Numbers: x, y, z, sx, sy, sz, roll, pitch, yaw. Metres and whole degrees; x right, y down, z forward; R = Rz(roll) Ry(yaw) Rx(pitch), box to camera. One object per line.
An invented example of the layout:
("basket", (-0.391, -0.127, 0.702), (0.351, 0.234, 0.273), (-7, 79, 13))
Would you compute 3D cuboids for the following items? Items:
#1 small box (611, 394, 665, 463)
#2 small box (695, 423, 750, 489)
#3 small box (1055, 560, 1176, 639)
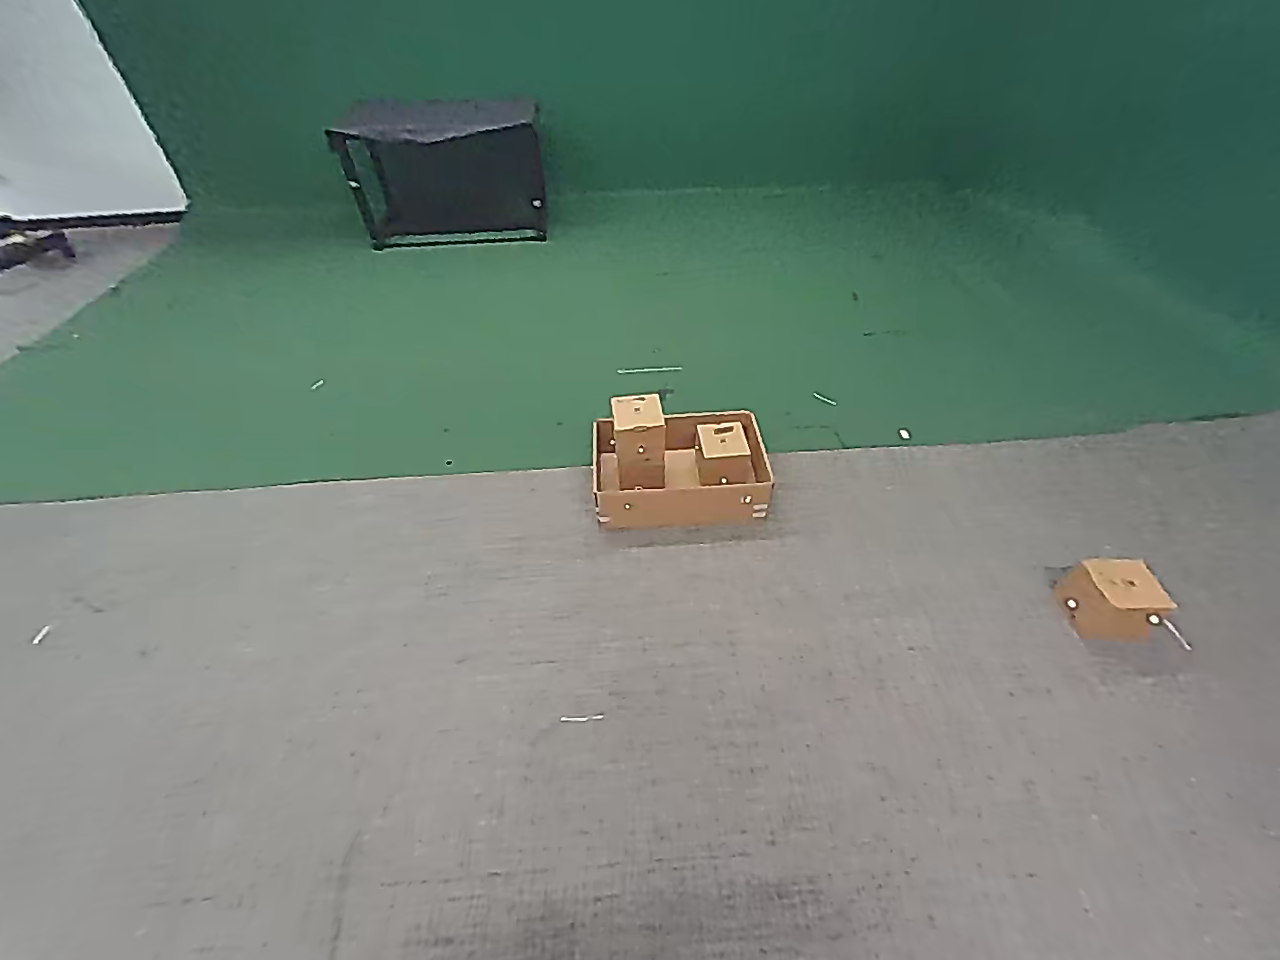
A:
("small box", (-0.006, -0.169, 1.849), (0.168, 0.176, 0.179), (-6, 47, -3))
("small box", (0.298, -0.088, 1.988), (0.168, 0.176, 0.179), (-5, 48, -2))
("small box", (1.383, 0.353, 1.588), (0.179, 0.176, 0.168), (0, 45, 2))
